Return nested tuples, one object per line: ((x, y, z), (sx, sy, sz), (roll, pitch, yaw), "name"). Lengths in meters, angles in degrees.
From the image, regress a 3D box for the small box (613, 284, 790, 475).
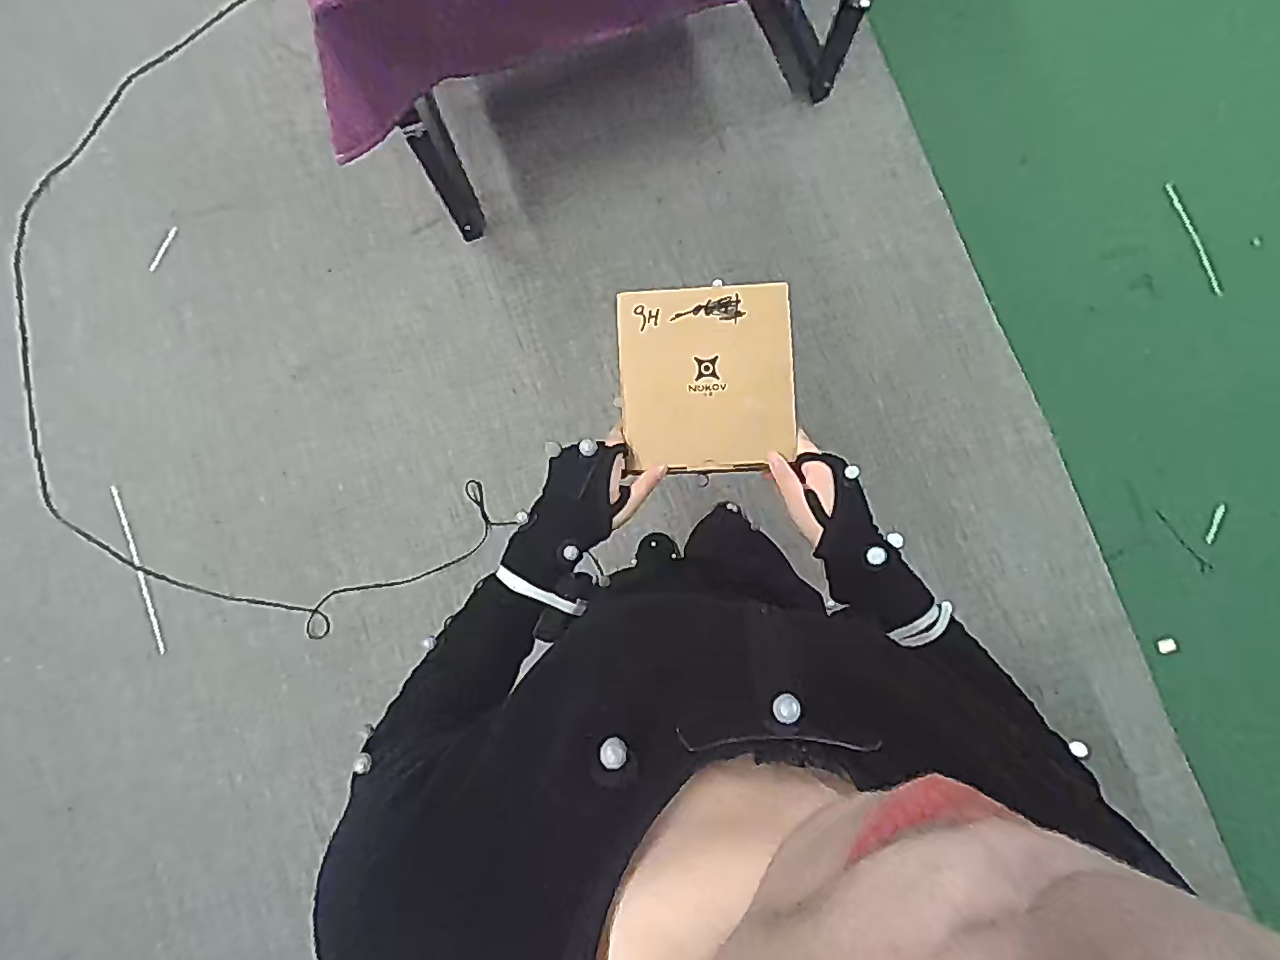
((0.062, -0.098, 0.597), (0.168, 0.176, 0.179), (-3, 90, 2), "small box")
